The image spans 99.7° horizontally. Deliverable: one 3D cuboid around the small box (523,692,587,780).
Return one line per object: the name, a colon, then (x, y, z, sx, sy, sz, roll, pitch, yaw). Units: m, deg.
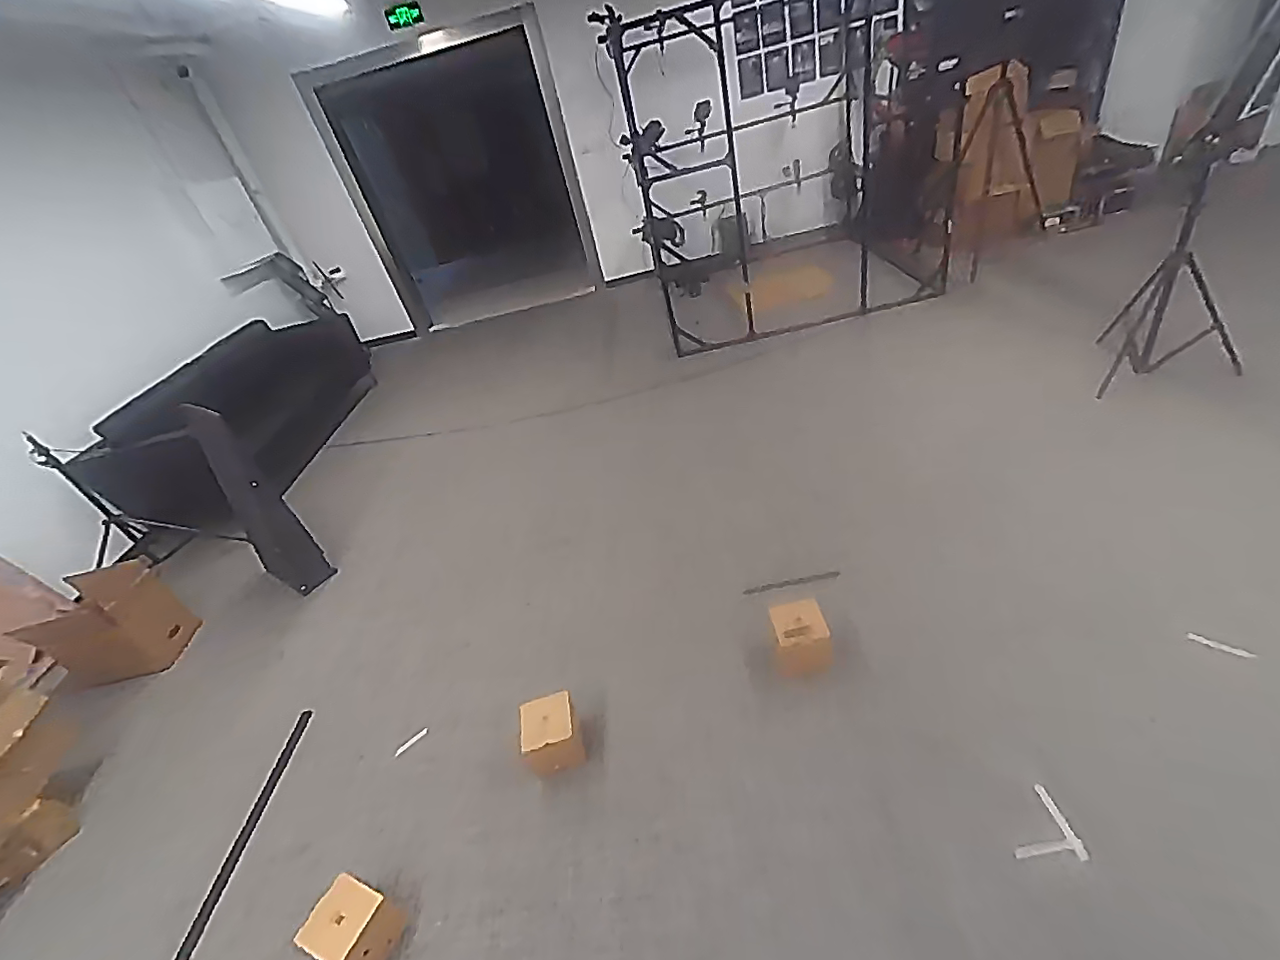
small box: (-0.278, 0.837, 1.768, 0.168, 0.176, 0.179, -17, 35, -3)

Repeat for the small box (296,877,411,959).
small box: (-0.750, 1.207, 1.437, 0.179, 0.176, 0.168, 4, 39, 27)
